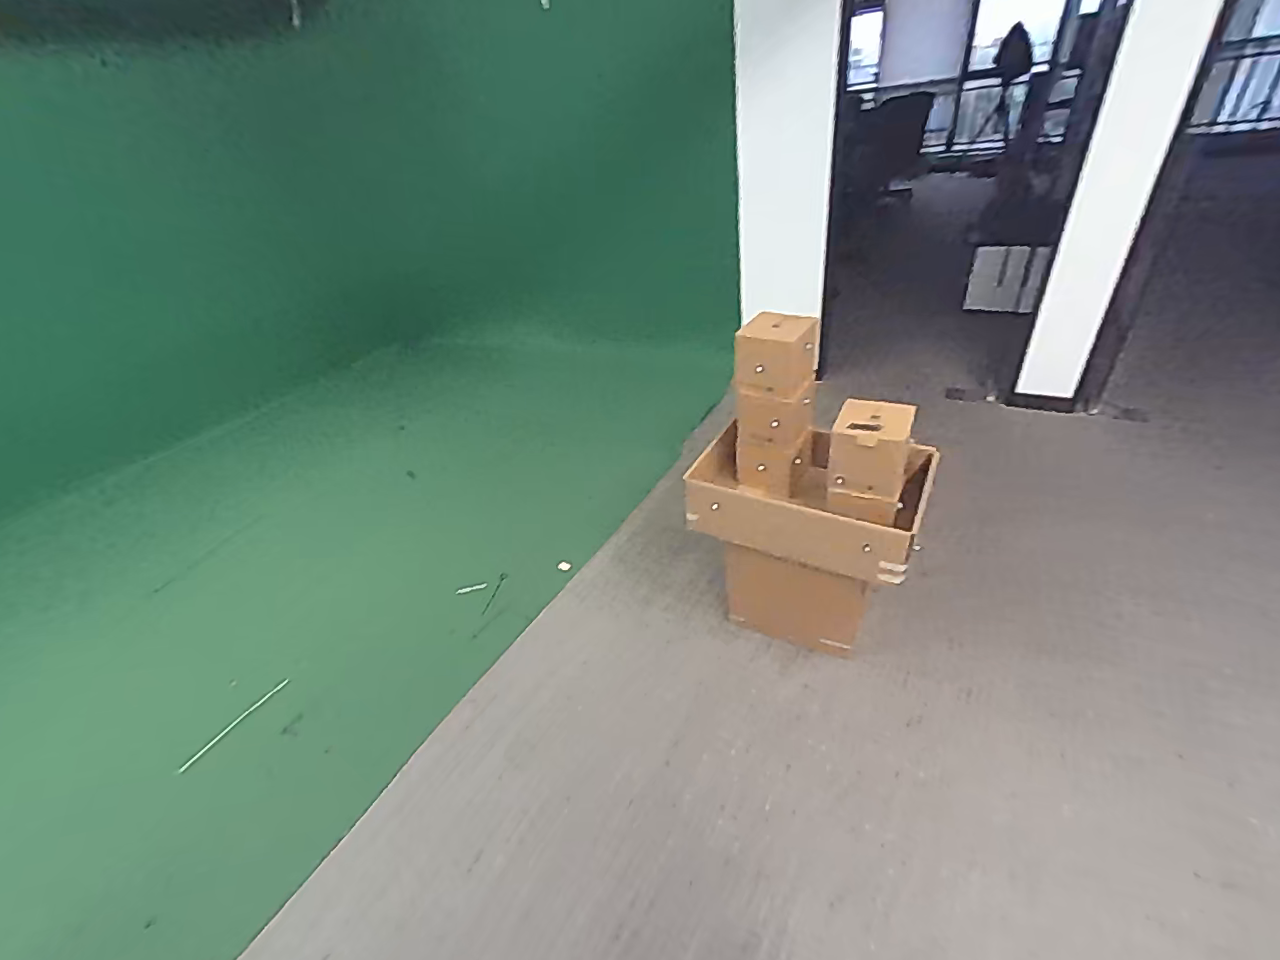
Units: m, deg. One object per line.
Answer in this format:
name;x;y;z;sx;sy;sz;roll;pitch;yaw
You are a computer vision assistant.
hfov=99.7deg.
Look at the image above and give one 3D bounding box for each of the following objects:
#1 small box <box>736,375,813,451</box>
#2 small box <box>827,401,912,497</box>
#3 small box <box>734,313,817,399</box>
small box;0.393;-0.206;1.582;0.168;0.176;0.179;18;43;29
small box;0.575;-0.078;1.364;0.168;0.176;0.179;13;41;27
small box;0.372;-0.342;1.491;0.168;0.176;0.179;19;44;30
